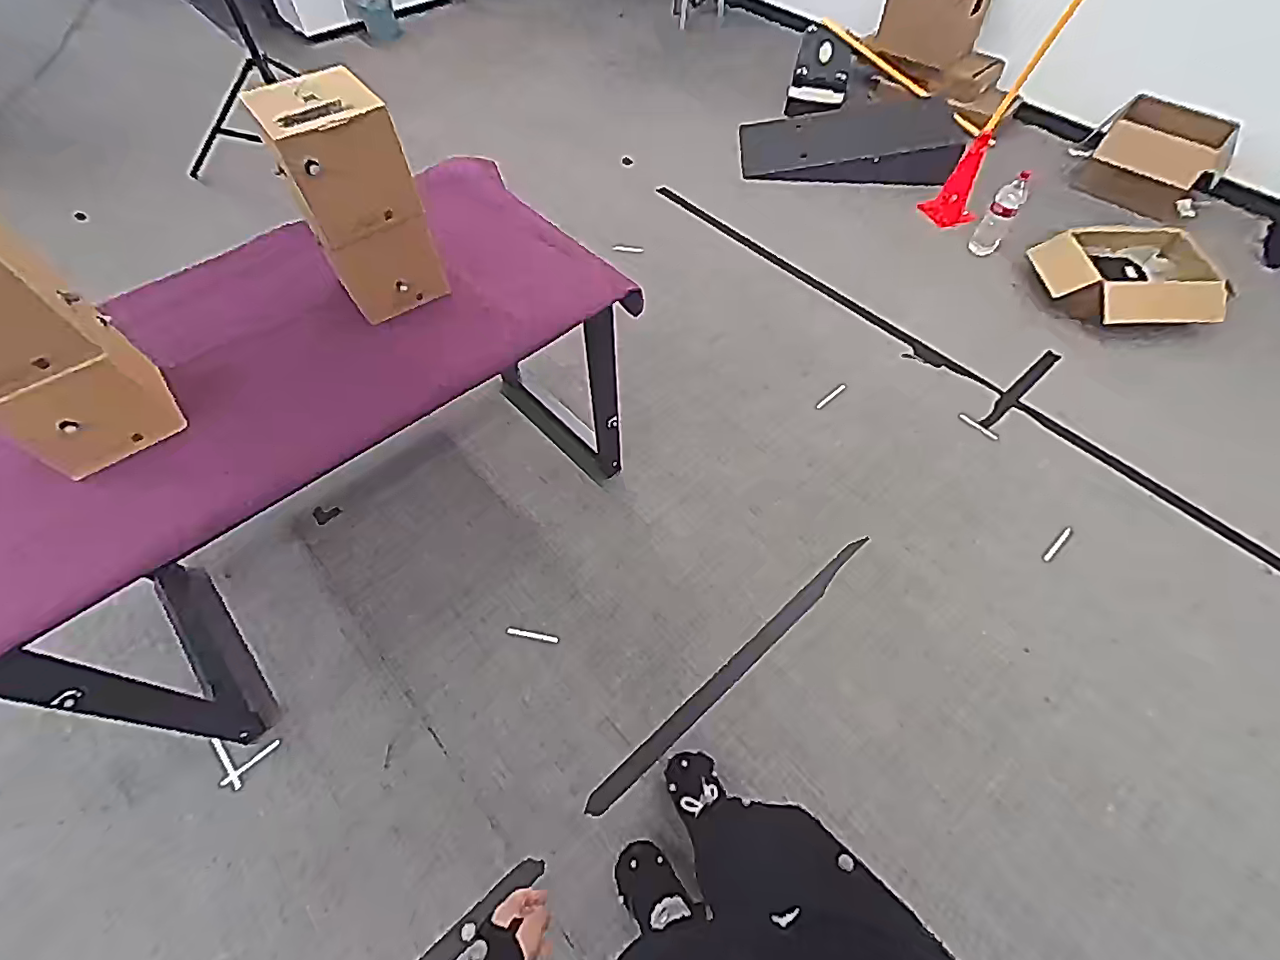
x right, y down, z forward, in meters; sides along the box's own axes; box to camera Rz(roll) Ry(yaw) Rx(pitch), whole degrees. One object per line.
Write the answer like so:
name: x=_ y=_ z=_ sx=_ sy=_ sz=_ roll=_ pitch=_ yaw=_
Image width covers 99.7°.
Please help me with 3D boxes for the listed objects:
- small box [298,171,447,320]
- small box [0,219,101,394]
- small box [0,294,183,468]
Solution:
small box: x=-0.490 y=-0.433 z=1.009 sx=0.168 sy=0.176 sz=0.179 roll=-32 pitch=64 yaw=-18
small box: x=-0.858 y=-0.231 z=0.687 sx=0.168 sy=0.176 sz=0.179 roll=-37 pitch=64 yaw=-21
small box: x=-0.855 y=-0.140 z=0.824 sx=0.168 sy=0.176 sz=0.179 roll=-36 pitch=65 yaw=-21
